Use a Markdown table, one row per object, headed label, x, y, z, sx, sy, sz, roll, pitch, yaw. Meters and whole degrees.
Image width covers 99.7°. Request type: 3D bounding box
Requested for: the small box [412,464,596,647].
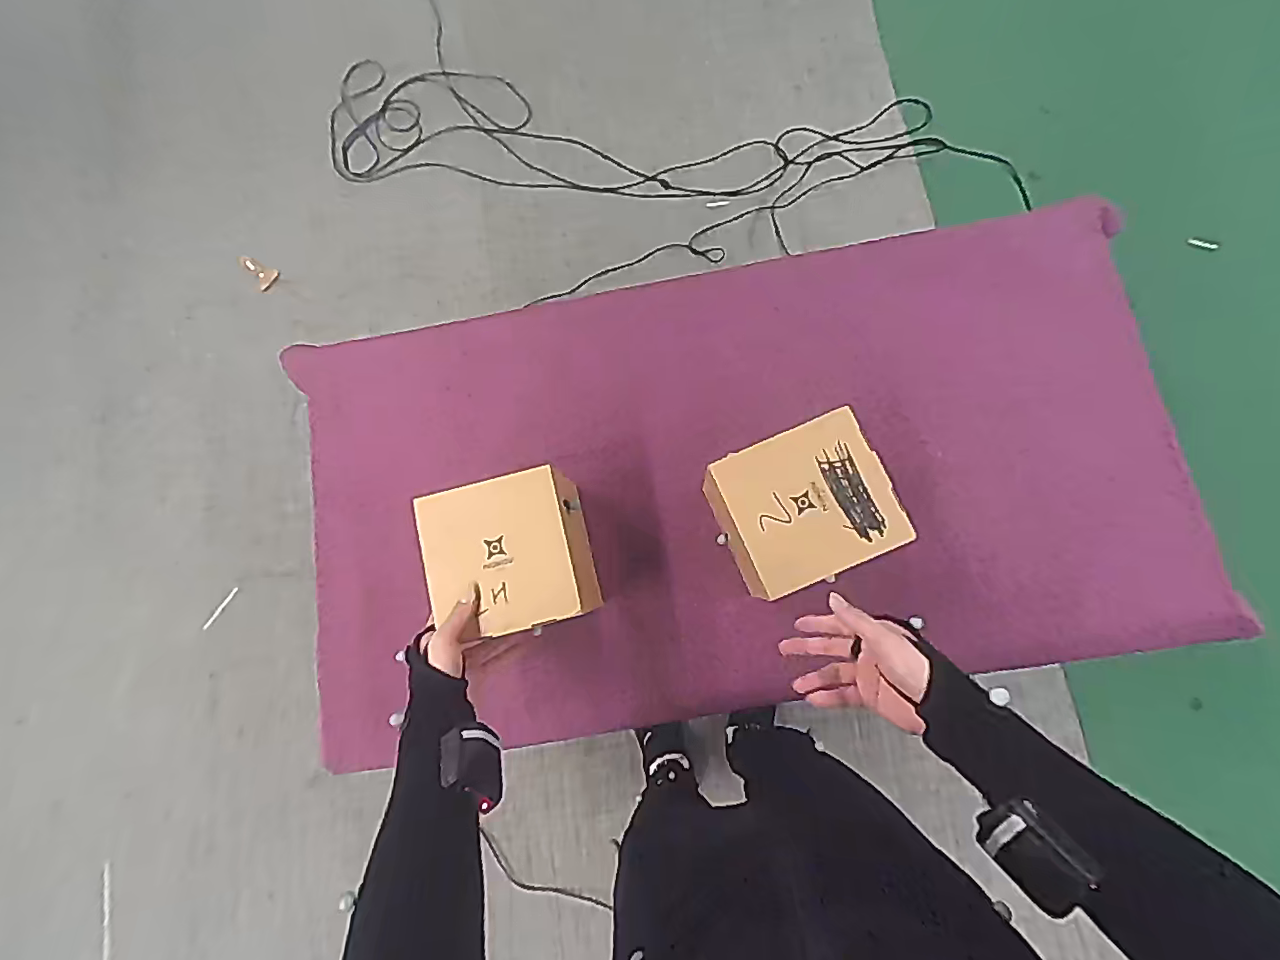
| label | x | y | z | sx | sy | sz | roll | pitch | yaw |
| --- | --- | --- | --- | --- | --- | --- | --- | --- | --- |
| small box | -0.158 | 0.096 | 0.674 | 0.168 | 0.176 | 0.179 | -13 | 80 | 2 |
